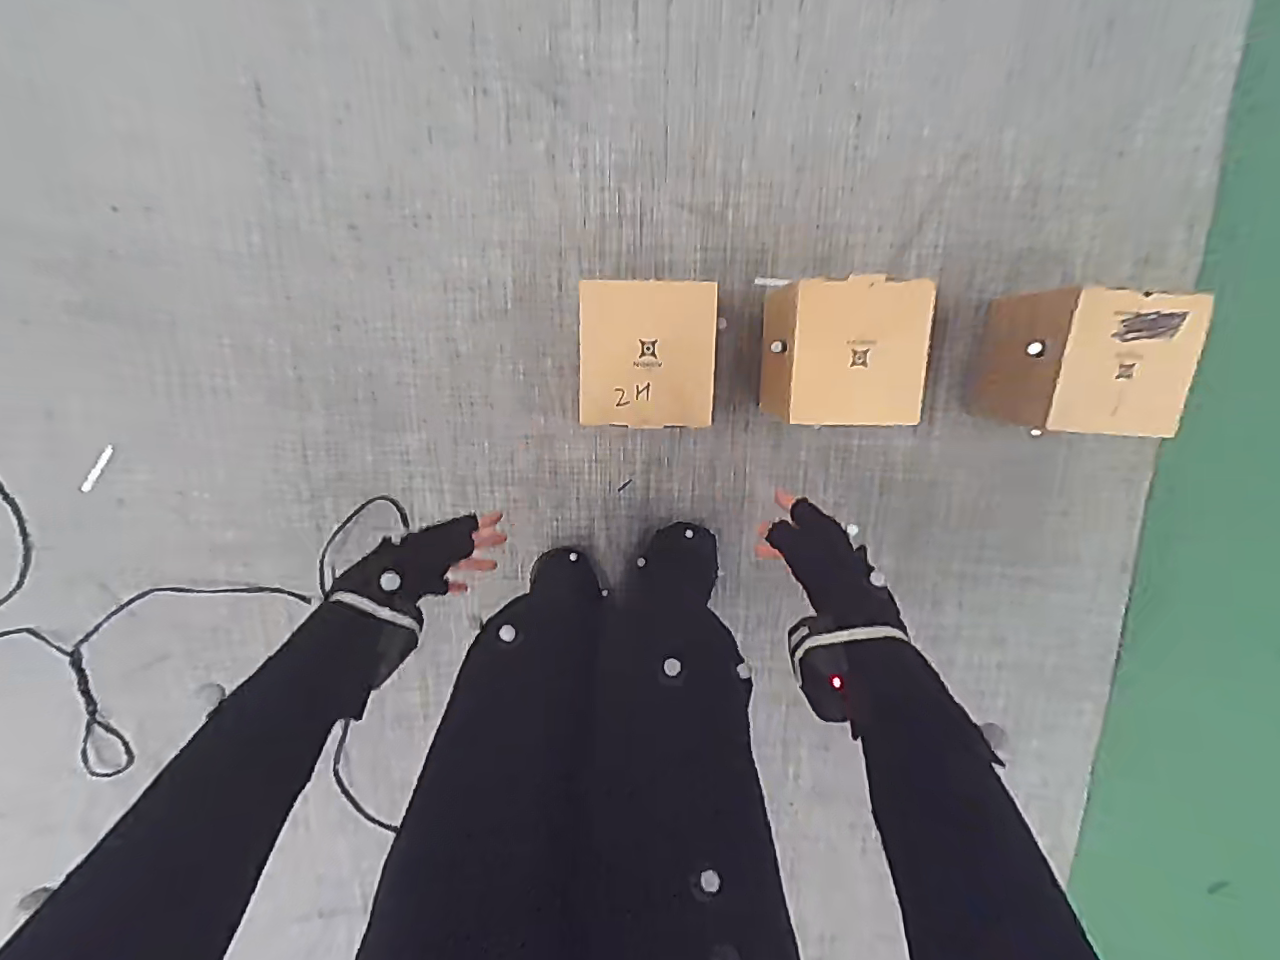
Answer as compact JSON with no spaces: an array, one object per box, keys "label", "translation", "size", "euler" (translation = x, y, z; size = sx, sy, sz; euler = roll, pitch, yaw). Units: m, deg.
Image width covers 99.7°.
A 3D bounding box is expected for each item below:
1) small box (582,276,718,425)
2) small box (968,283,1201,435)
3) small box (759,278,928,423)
[{"label":"small box","translation":[0.010,-0.173,0.742],"size":[0.168,0.176,0.179],"euler":[1,102,0]},{"label":"small box","translation":[0.592,-0.165,0.748],"size":[0.168,0.176,0.179],"euler":[4,103,-1]},{"label":"small box","translation":[0.265,-0.175,0.745],"size":[0.168,0.176,0.179],"euler":[0,102,-1]}]
